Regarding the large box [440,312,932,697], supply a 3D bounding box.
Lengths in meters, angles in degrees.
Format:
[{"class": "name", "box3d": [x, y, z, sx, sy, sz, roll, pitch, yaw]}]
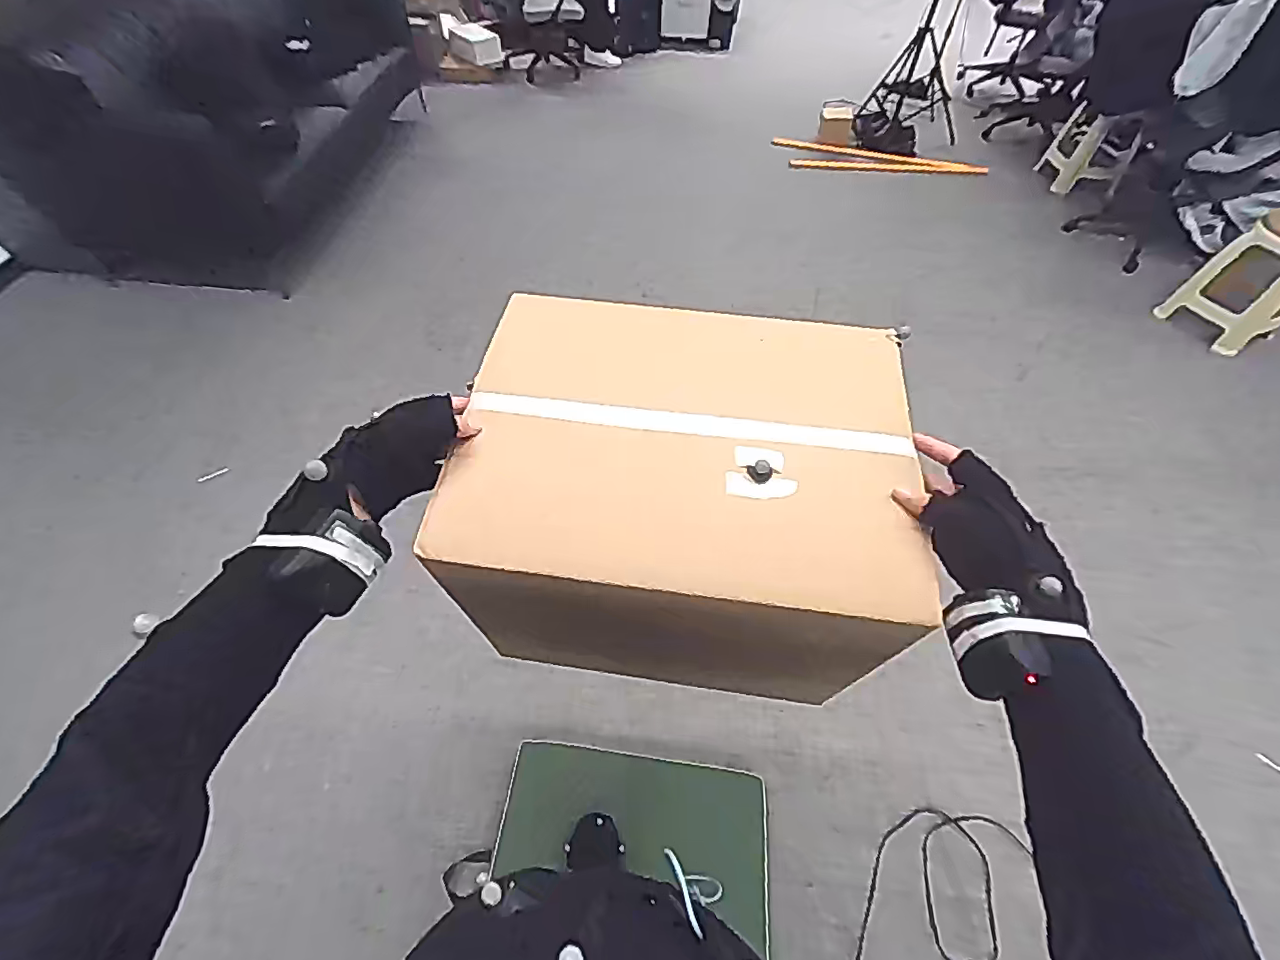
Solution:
[{"class": "large box", "box3d": [0.045, 0.041, 0.633, 0.408, 0.320, 0.320, 7, 58, 3]}]
